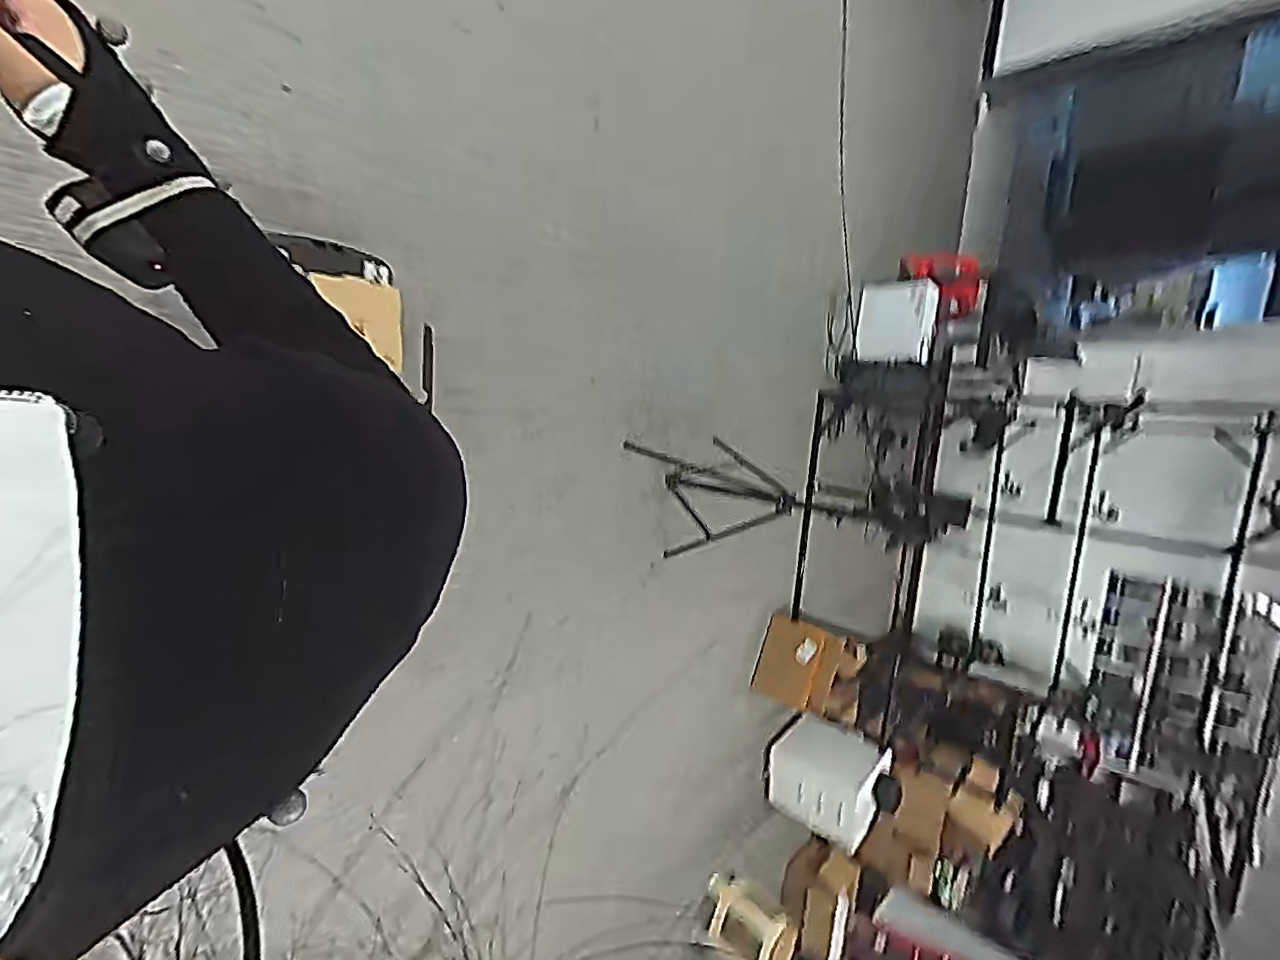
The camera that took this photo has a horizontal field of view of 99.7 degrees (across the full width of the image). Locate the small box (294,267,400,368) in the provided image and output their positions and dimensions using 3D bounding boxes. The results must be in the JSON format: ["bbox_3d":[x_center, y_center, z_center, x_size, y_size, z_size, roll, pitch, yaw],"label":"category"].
[{"bbox_3d":[-0.617,-0.327,1.125,0.168,0.176,0.179,-7,103,-46],"label":"small box"}]
